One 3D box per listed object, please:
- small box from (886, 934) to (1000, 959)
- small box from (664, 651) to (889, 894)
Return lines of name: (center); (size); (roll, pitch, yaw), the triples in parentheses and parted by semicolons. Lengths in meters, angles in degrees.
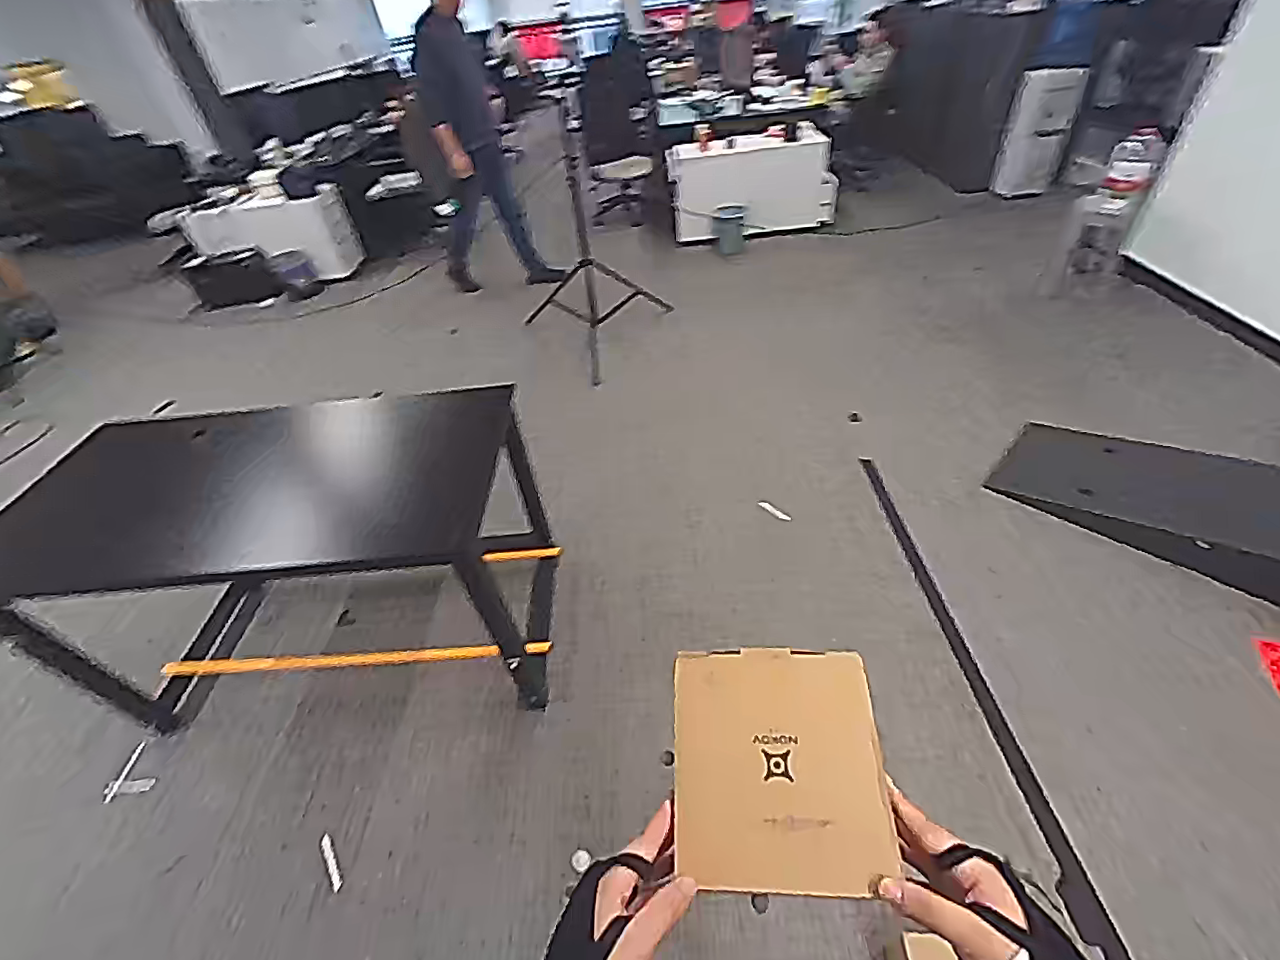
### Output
small box: (0.577, 0.966, 0.999); (0.168, 0.176, 0.179); (-4, 42, 5)
small box: (0.109, 0.274, 0.507); (0.168, 0.176, 0.179); (-3, 55, 6)
